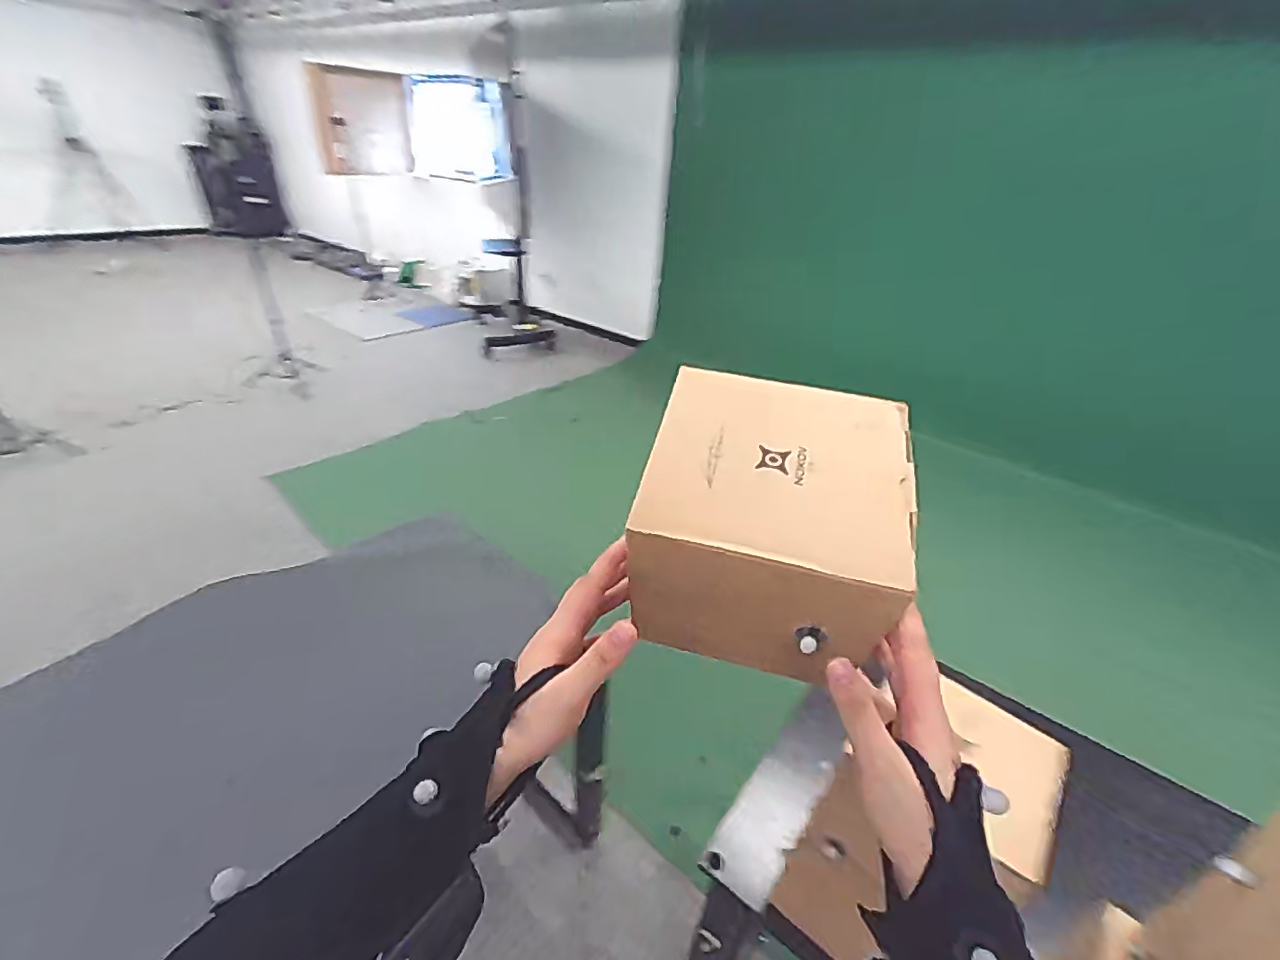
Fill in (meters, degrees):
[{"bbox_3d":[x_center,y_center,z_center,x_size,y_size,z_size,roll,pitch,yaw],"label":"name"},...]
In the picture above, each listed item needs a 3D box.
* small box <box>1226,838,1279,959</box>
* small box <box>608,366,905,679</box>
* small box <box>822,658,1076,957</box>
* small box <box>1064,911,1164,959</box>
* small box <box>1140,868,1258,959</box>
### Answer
[{"bbox_3d":[0.524,0.310,0.330,0.179,0.176,0.168,-19,38,-31],"label":"small box"},{"bbox_3d":[0.084,0.038,0.425,0.179,0.176,0.168,10,51,10],"label":"small box"},{"bbox_3d":[0.312,0.335,0.570,0.168,0.176,0.179,29,39,33],"label":"small box"},{"bbox_3d":[0.502,0.581,0.510,0.168,0.176,0.179,29,40,34],"label":"small box"},{"bbox_3d":[0.509,0.456,0.404,0.168,0.176,0.179,-20,39,-33],"label":"small box"}]
